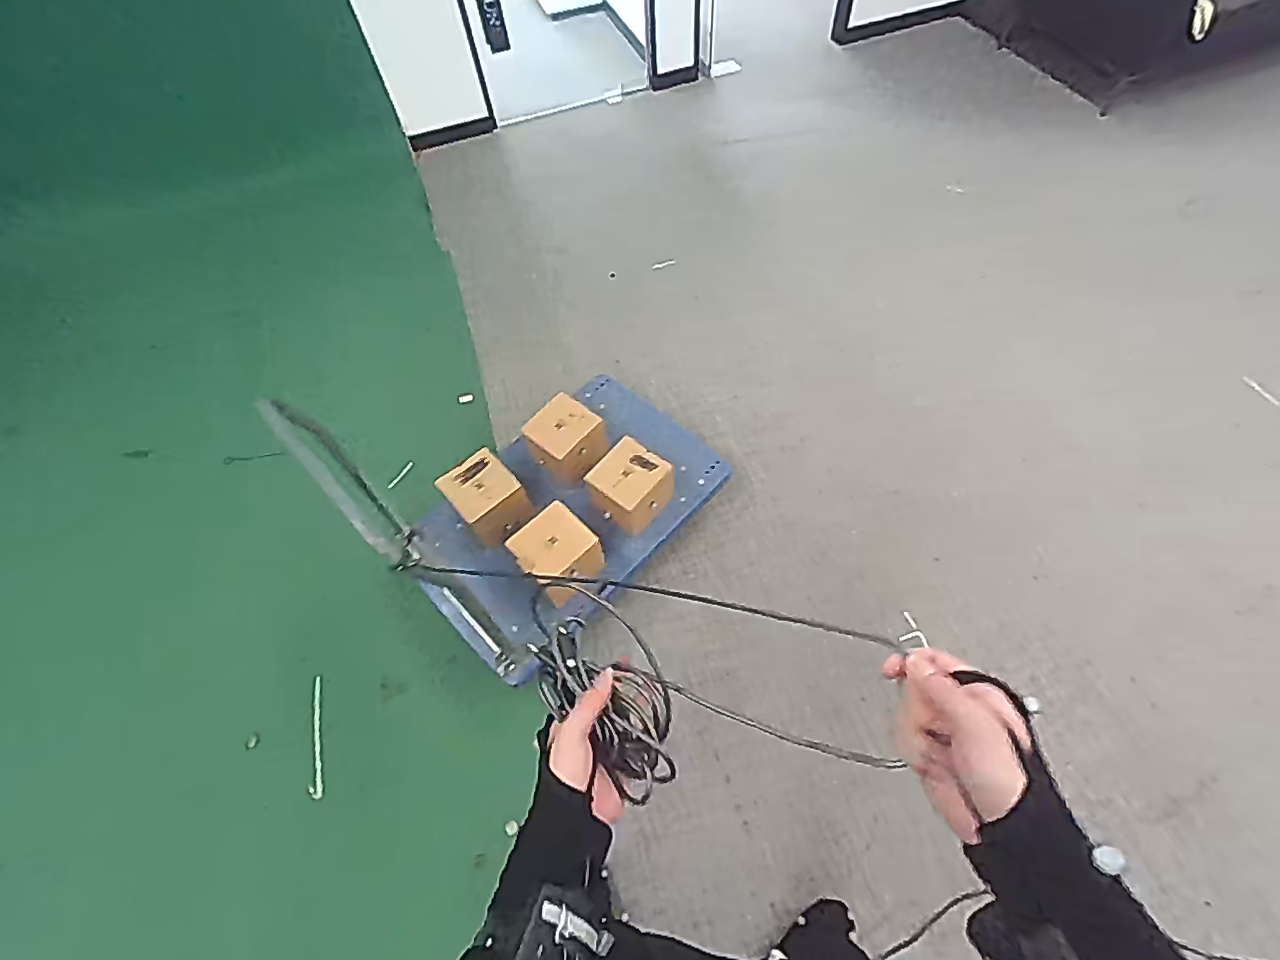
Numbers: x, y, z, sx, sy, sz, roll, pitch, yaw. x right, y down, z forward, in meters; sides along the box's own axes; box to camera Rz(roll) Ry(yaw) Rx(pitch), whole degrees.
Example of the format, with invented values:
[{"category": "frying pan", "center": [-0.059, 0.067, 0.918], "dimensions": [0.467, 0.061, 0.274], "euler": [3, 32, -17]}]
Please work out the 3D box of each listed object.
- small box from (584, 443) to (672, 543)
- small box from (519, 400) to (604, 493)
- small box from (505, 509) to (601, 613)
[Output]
[{"category": "small box", "center": [-0.029, 0.039, 1.492], "dimensions": [0.168, 0.176, 0.179], "euler": [35, 69, 23]}, {"category": "small box", "center": [-0.221, -0.093, 1.585], "dimensions": [0.168, 0.176, 0.179], "euler": [35, 68, 21]}, {"category": "small box", "center": [-0.216, 0.214, 1.405], "dimensions": [0.179, 0.176, 0.168], "euler": [-42, 65, -18]}]
